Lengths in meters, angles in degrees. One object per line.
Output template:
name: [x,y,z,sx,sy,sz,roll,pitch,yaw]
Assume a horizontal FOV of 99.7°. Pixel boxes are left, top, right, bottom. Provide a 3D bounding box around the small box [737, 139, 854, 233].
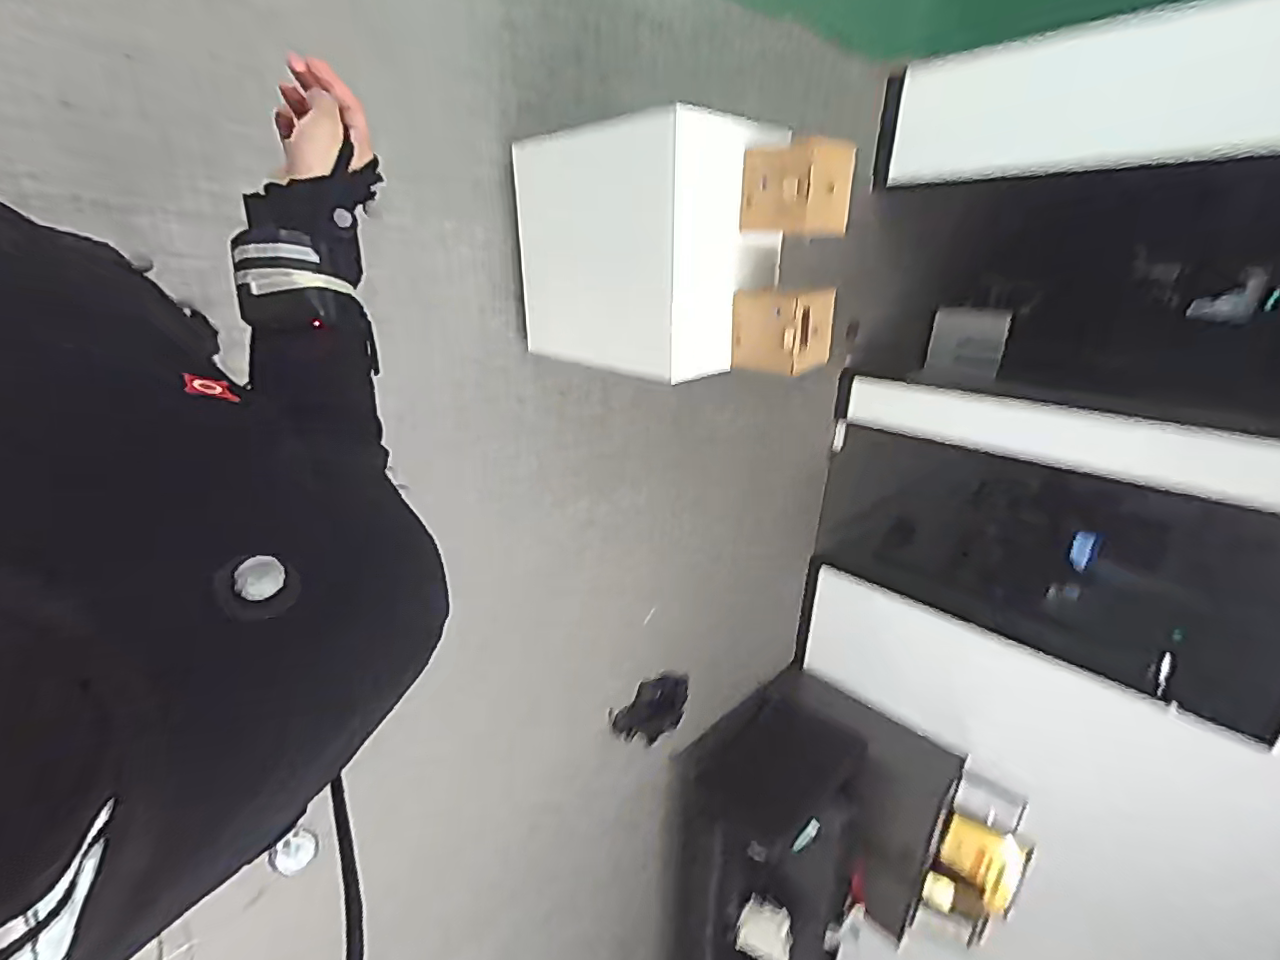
small box: [0.334,-0.629,1.173,0.179,0.176,0.168,-22,122,-38]
